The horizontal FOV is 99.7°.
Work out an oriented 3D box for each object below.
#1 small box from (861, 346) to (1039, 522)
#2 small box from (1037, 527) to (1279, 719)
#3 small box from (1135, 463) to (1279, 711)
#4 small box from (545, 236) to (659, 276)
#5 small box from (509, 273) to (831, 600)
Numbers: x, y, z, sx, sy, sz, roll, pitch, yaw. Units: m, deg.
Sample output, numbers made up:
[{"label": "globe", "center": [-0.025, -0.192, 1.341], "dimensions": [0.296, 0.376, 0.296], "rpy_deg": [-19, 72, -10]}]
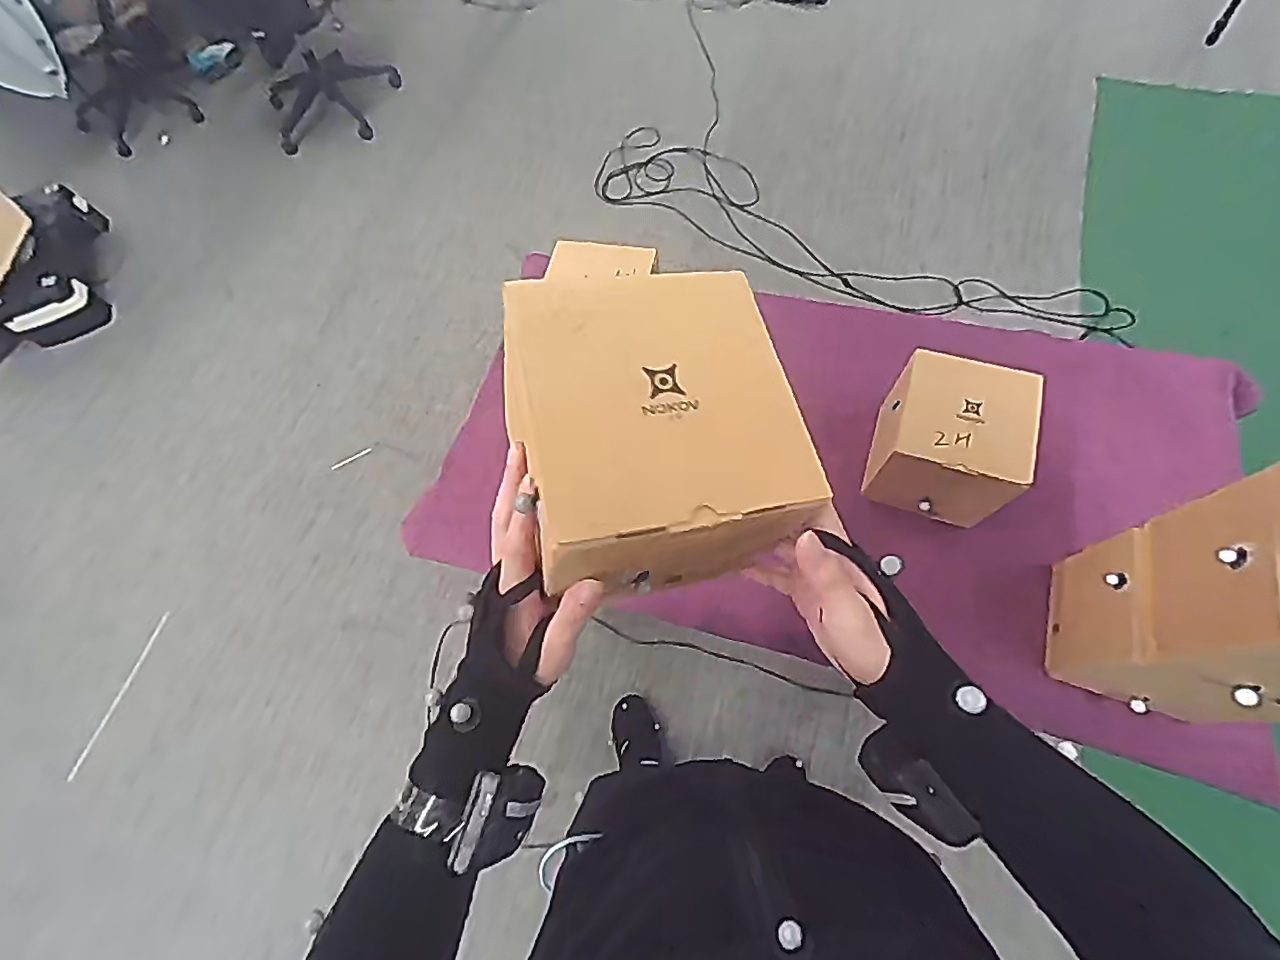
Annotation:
[{"label": "small box", "center": [0.443, -0.061, 0.796], "dimensions": [0.168, 0.176, 0.179], "rpy_deg": [18, 70, 13]}, {"label": "small box", "center": [0.643, 0.181, 0.672], "dimensions": [0.179, 0.176, 0.168], "rpy_deg": [17, 69, 12]}, {"label": "small box", "center": [0.631, 0.113, 0.524], "dimensions": [0.168, 0.176, 0.179], "rpy_deg": [17, 69, 14]}, {"label": "small box", "center": [-0.064, -0.290, 0.939], "dimensions": [0.179, 0.176, 0.168], "rpy_deg": [10, 69, 10]}, {"label": "small box", "center": [0.000, -0.025, 0.398], "dimensions": [0.168, 0.176, 0.179], "rpy_deg": [-9, 70, -18]}]
